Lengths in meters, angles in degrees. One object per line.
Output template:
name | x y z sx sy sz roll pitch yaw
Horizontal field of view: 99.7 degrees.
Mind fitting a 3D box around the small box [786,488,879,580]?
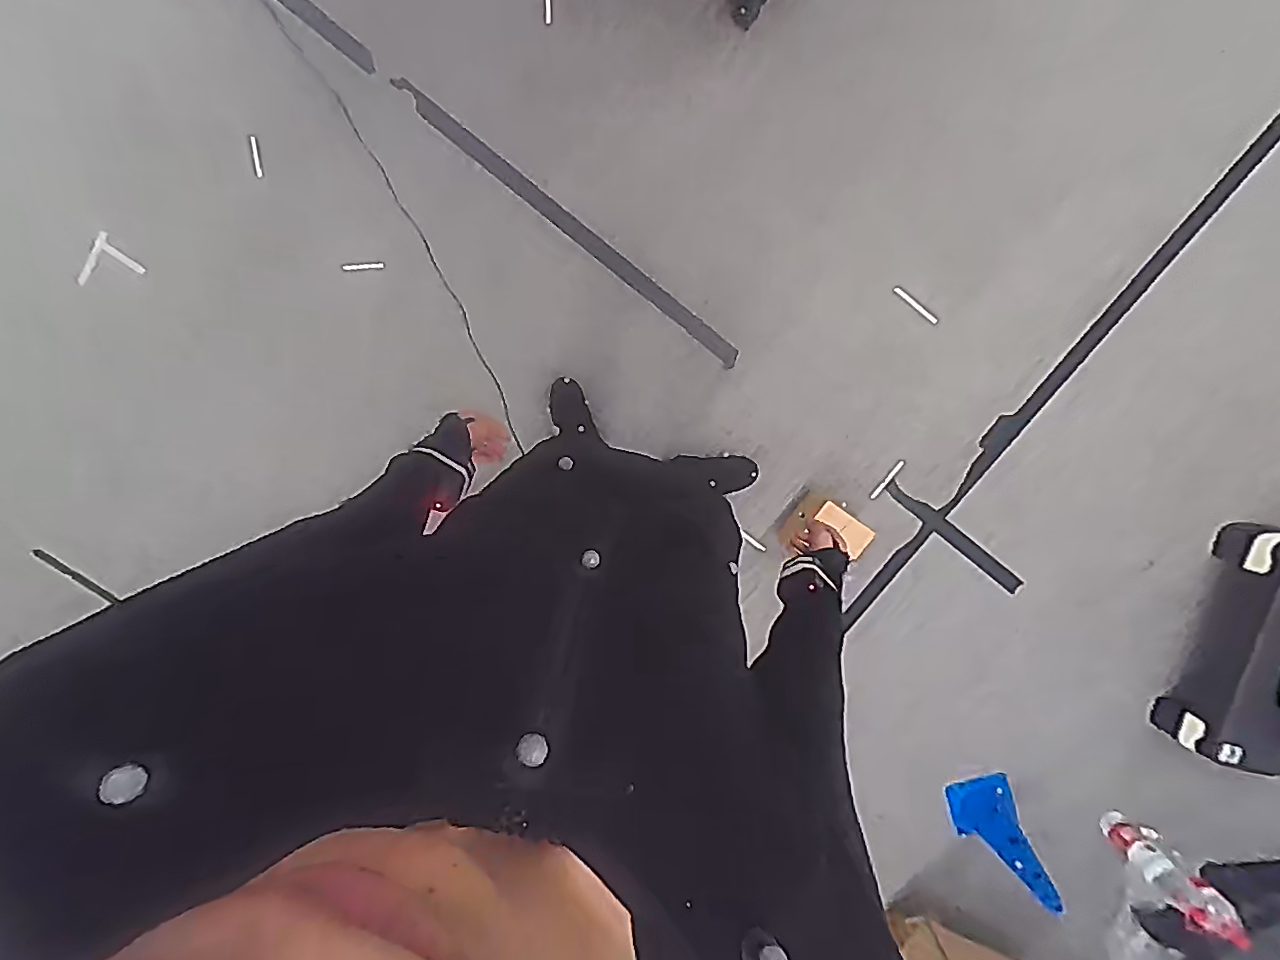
small box | 0.536 0.149 1.544 0.168 0.176 0.179 35 100 -4
